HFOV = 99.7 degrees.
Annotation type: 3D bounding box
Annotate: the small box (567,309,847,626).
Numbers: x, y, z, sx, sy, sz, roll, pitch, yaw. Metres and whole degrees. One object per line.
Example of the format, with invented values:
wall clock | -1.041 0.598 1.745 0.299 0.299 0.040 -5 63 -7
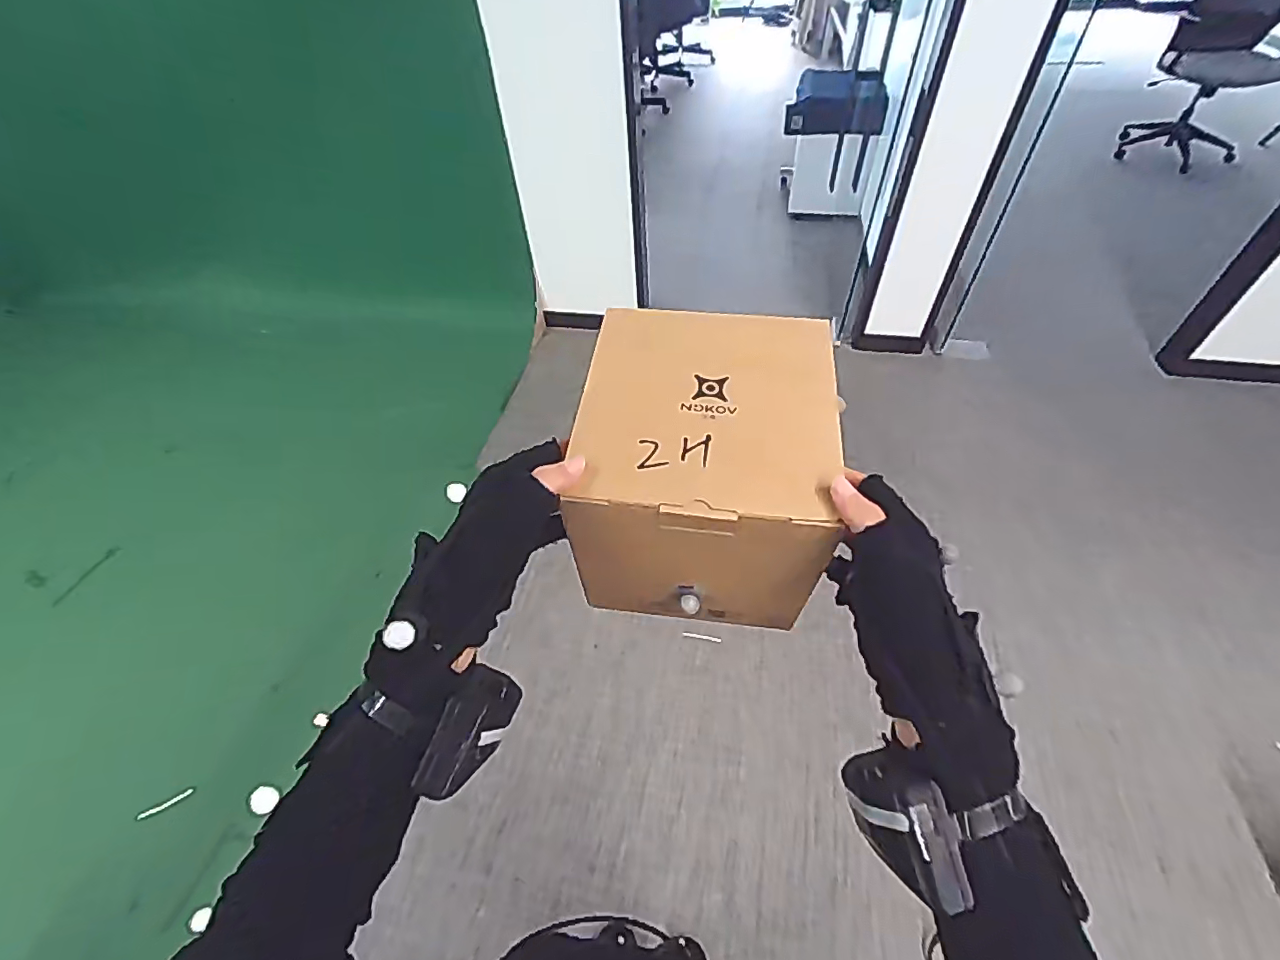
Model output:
small box | 0.050 -0.007 0.423 0.168 0.176 0.179 5 55 7
